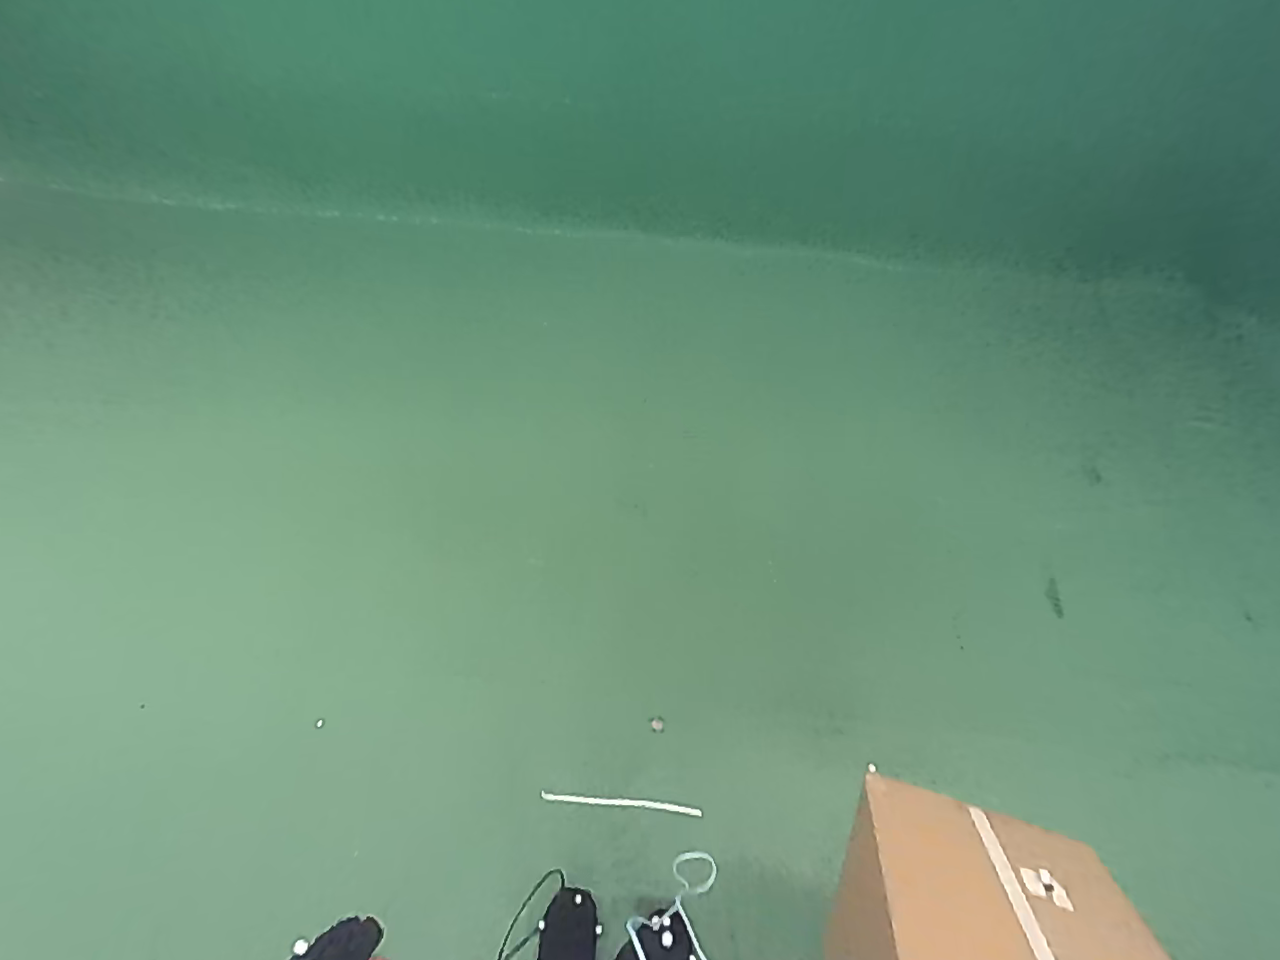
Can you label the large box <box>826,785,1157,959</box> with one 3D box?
[{"bbox_3d":[0.419,0.671,0.647,0.320,0.408,0.320,13,96,15],"label":"large box"}]
